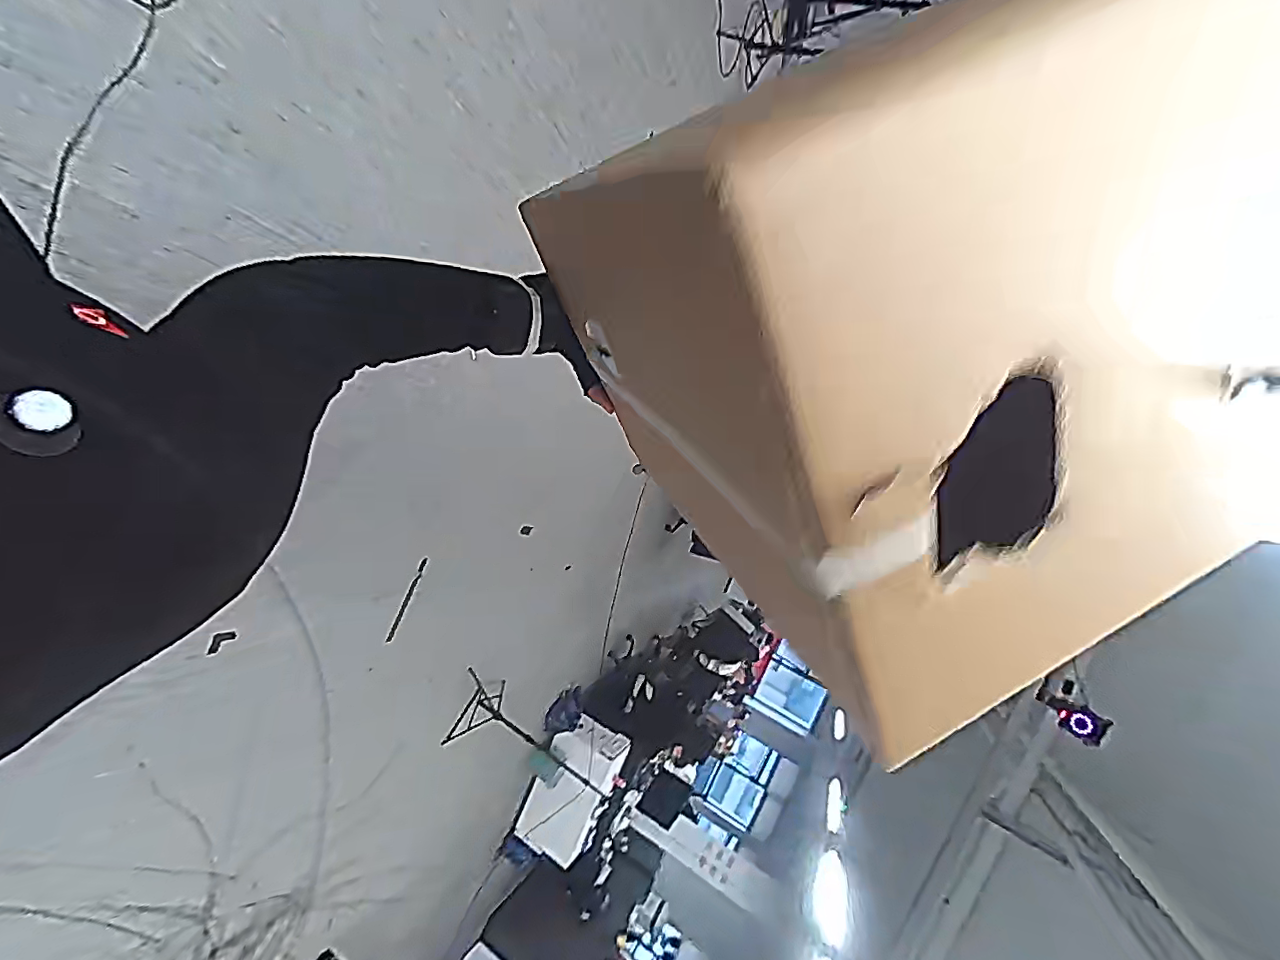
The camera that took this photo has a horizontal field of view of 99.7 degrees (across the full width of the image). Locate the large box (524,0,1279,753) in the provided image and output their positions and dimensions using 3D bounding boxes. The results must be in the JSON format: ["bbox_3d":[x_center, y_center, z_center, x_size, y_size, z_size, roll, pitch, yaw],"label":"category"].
[{"bbox_3d":[0.138,-0.109,0.410,0.320,0.408,0.320,-27,121,-4],"label":"large box"}]
